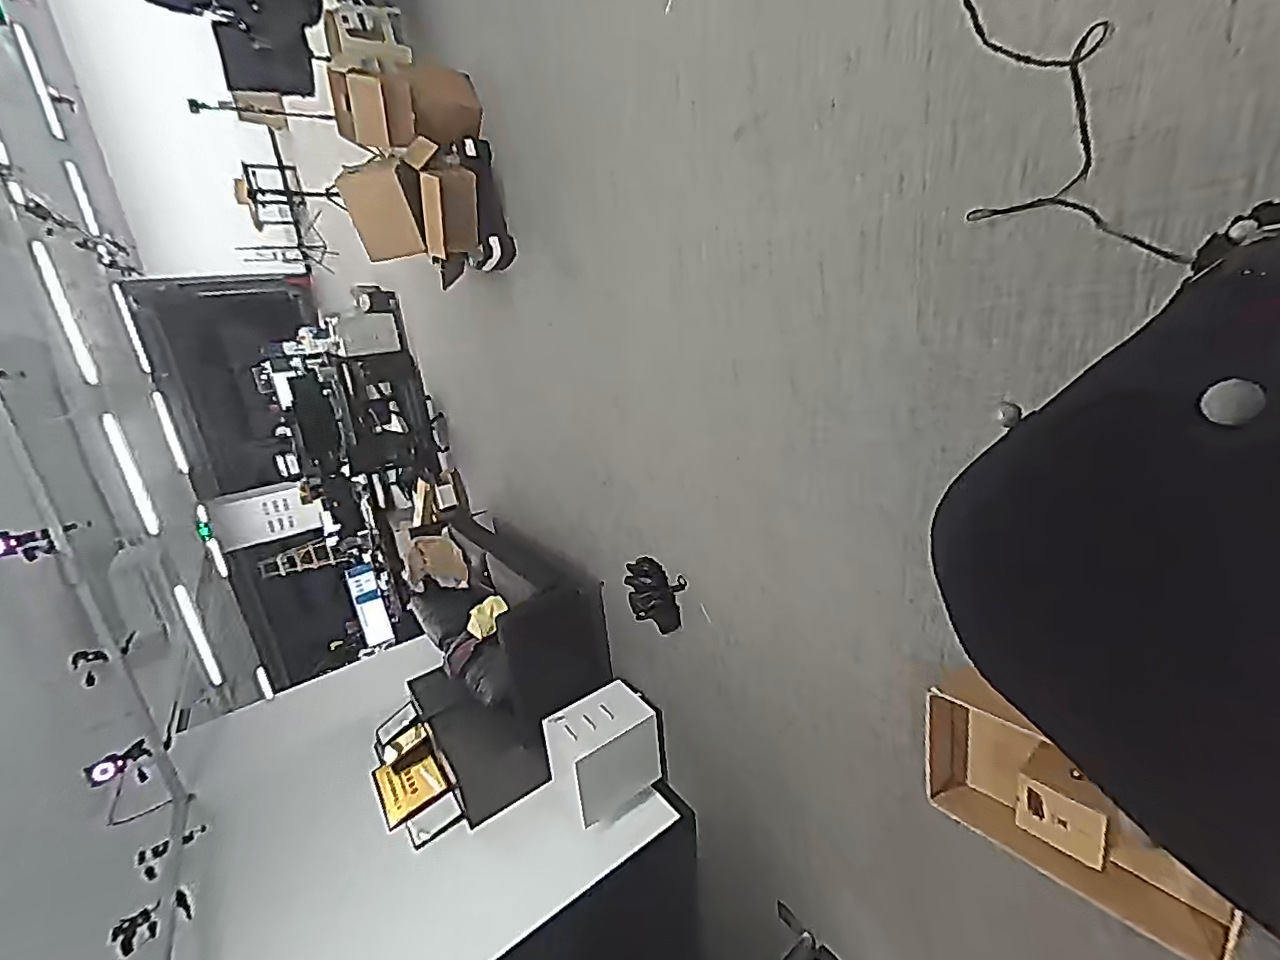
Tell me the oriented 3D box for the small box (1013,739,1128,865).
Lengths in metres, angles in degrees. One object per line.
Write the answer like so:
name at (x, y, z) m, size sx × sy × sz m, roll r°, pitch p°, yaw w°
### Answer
small box at (1.047, 0.769, 1.318) m, size 0.179 × 0.176 × 0.168 m, roll 12°, pitch 116°, yaw 52°
